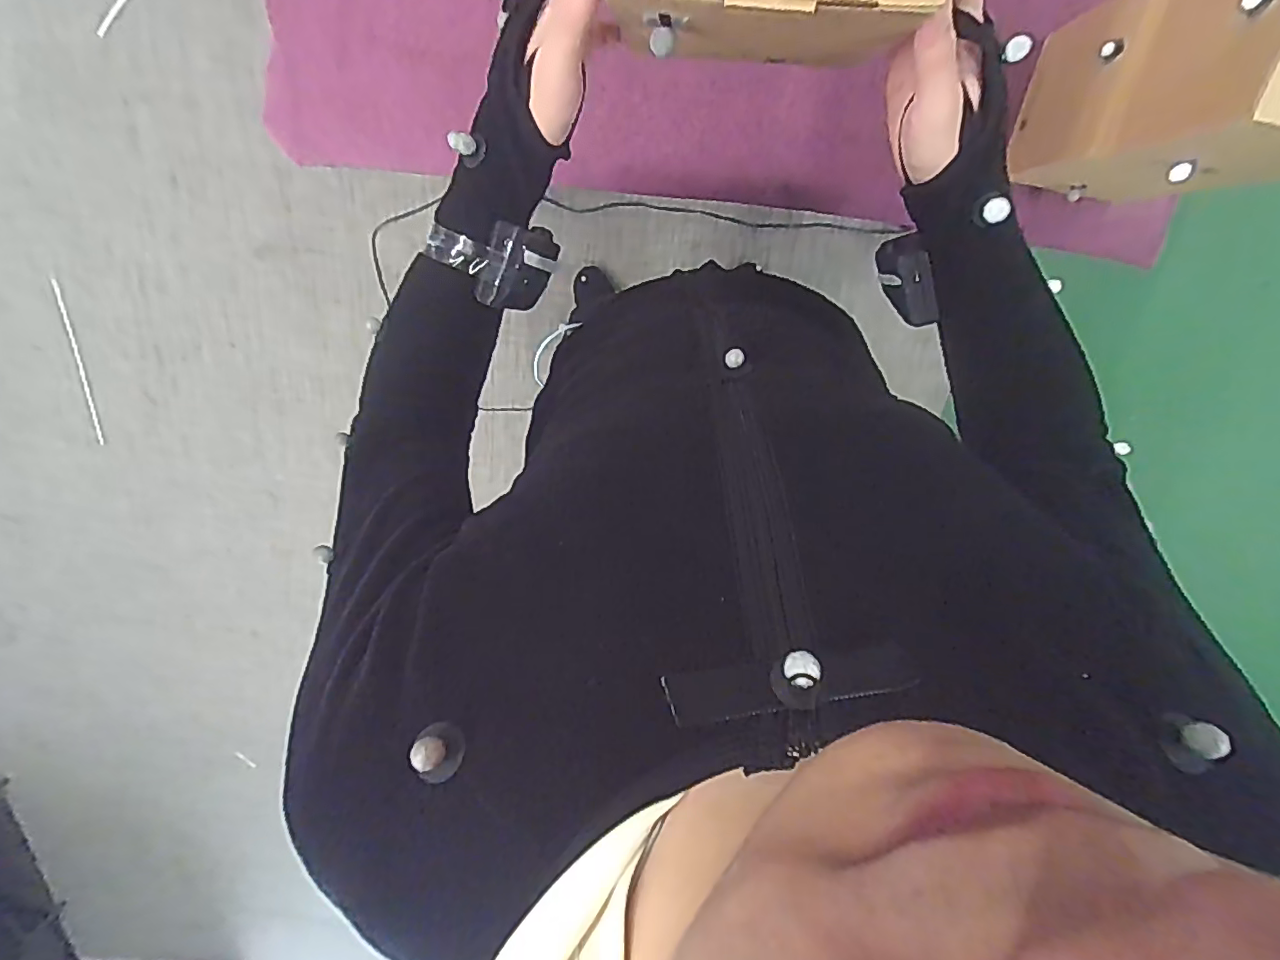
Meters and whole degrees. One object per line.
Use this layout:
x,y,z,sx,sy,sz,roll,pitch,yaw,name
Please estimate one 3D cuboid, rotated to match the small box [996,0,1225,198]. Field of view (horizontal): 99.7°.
0.578,-0.443,0.637,0.179,0.176,0.168,9,110,-4,small box
